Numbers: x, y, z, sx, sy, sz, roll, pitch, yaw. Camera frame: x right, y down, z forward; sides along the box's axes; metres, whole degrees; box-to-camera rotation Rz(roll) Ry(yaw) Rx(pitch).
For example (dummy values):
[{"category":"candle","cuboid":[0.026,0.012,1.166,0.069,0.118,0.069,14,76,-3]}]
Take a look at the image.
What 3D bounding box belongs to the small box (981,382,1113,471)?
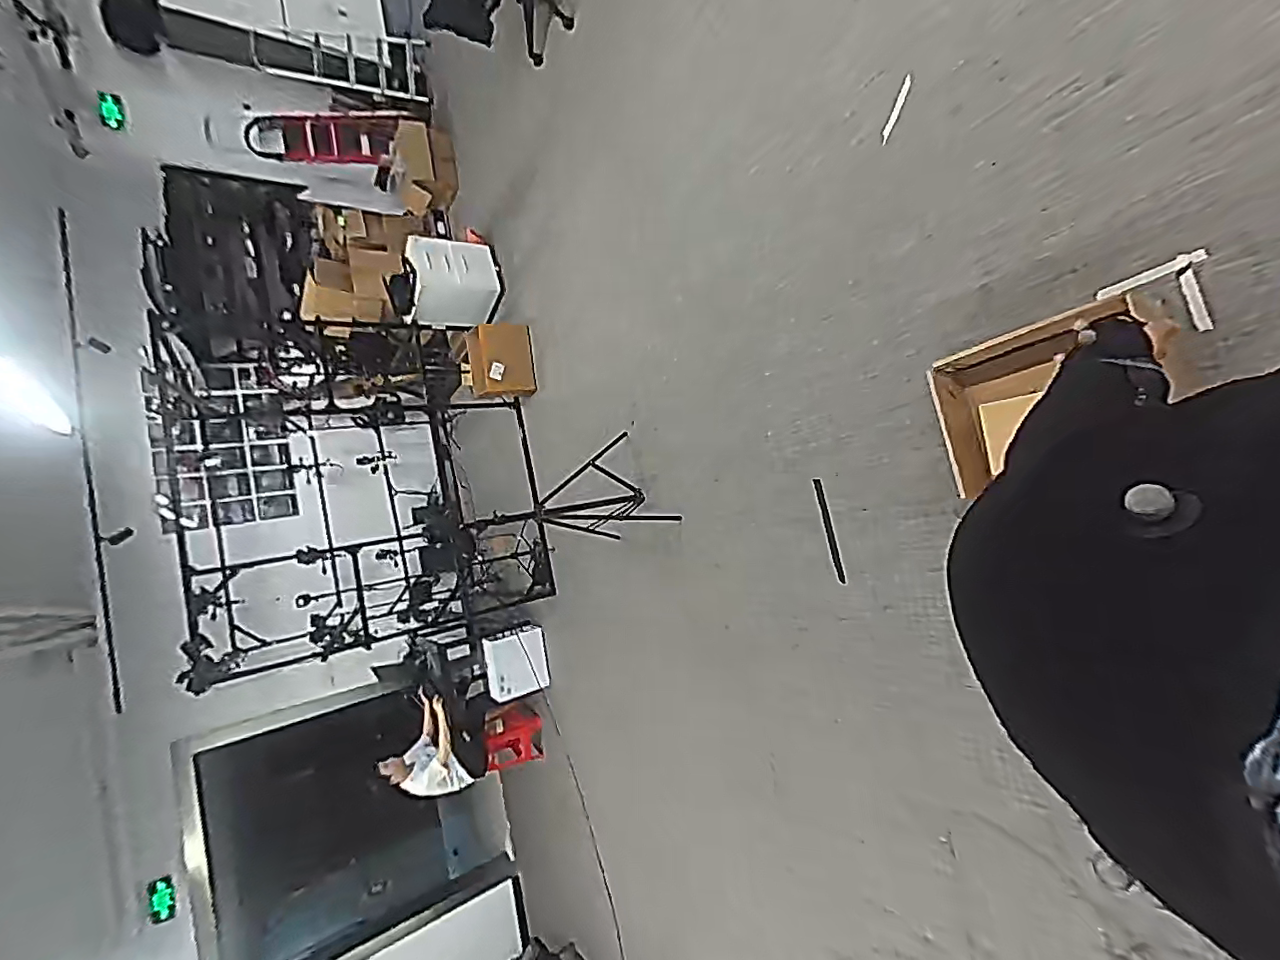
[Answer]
[{"category":"small box","cuboid":[0.893,-0.115,1.189,0.179,0.176,0.168,-11,89,56]}]
